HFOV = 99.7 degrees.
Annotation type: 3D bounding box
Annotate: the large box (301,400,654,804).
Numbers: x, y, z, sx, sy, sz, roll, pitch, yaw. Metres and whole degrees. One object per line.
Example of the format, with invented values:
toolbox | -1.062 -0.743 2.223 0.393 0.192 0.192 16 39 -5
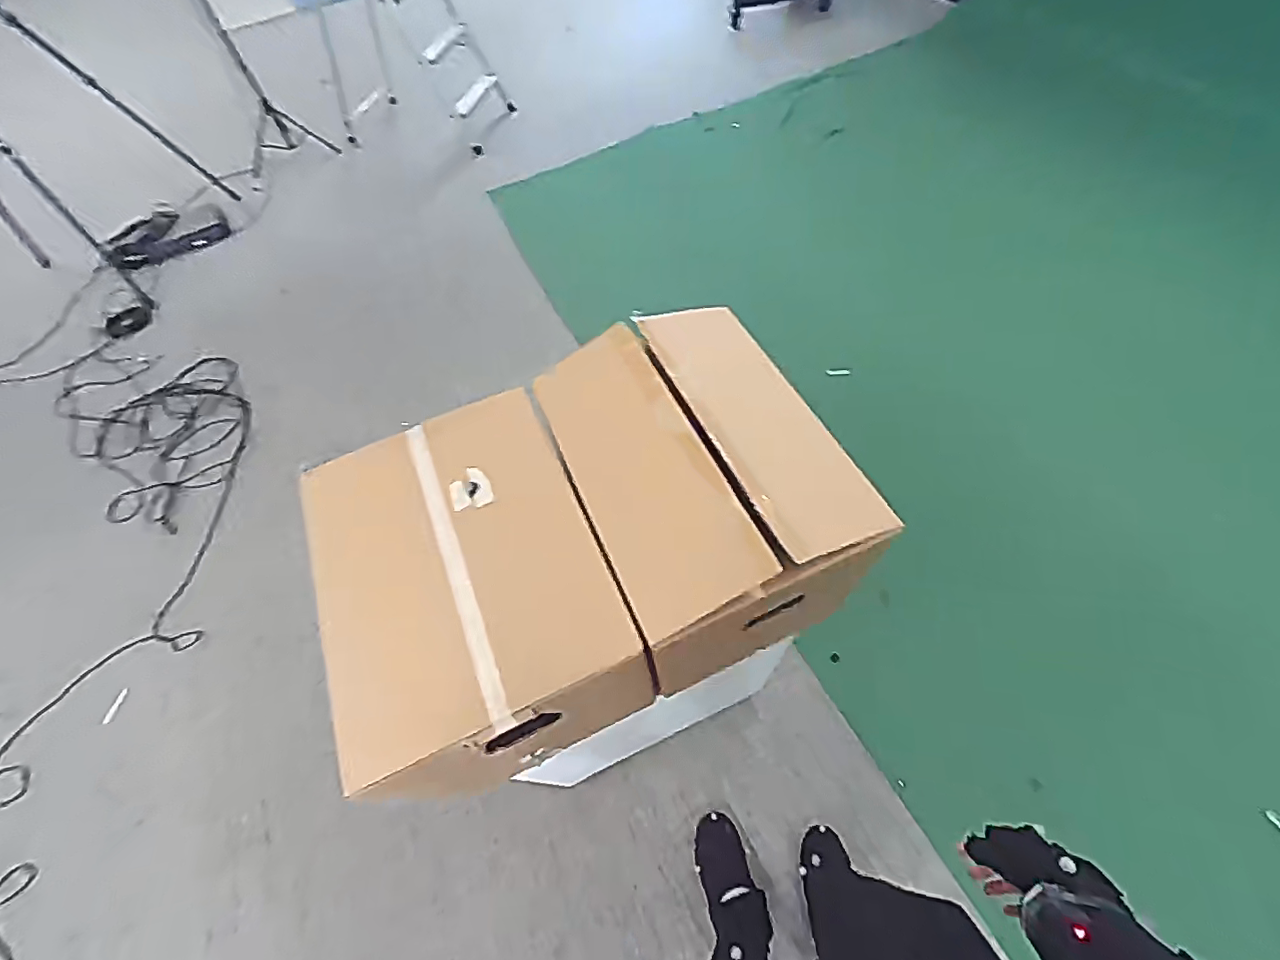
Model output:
large box | -0.211 0.172 0.760 0.320 0.320 0.408 -24 58 -10
